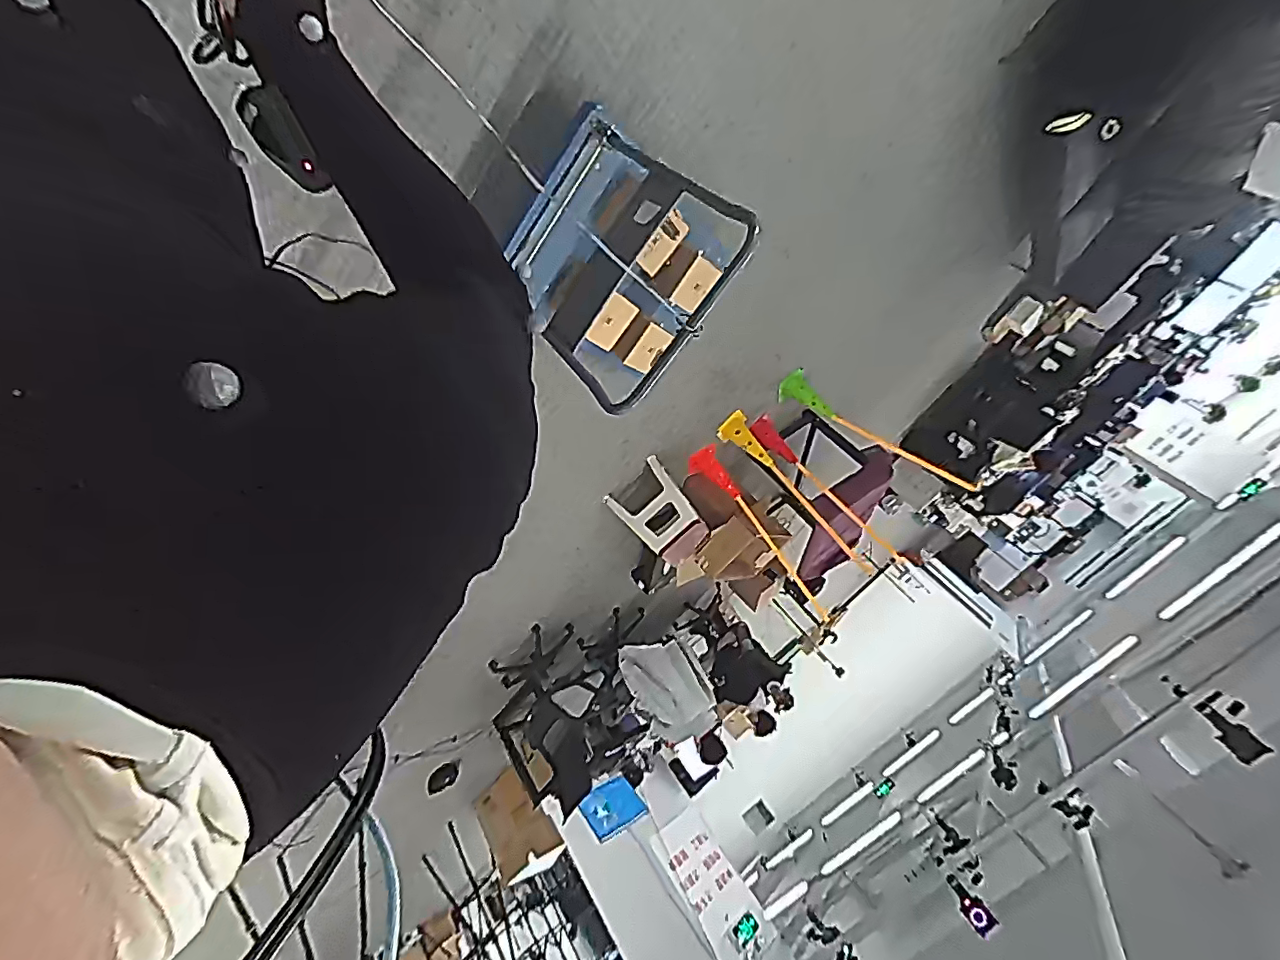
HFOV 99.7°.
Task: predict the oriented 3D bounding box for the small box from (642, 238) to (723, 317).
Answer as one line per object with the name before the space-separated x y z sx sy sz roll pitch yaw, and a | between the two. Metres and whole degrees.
small box | 0.140 -0.689 1.827 0.179 0.176 0.168 9 124 -53

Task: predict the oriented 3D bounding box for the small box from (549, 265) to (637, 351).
small box | -0.149 -0.541 1.692 0.168 0.176 0.179 -51 148 15

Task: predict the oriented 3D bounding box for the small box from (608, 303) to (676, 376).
small box | -0.011 -0.497 1.904 0.168 0.176 0.179 -52 148 17
